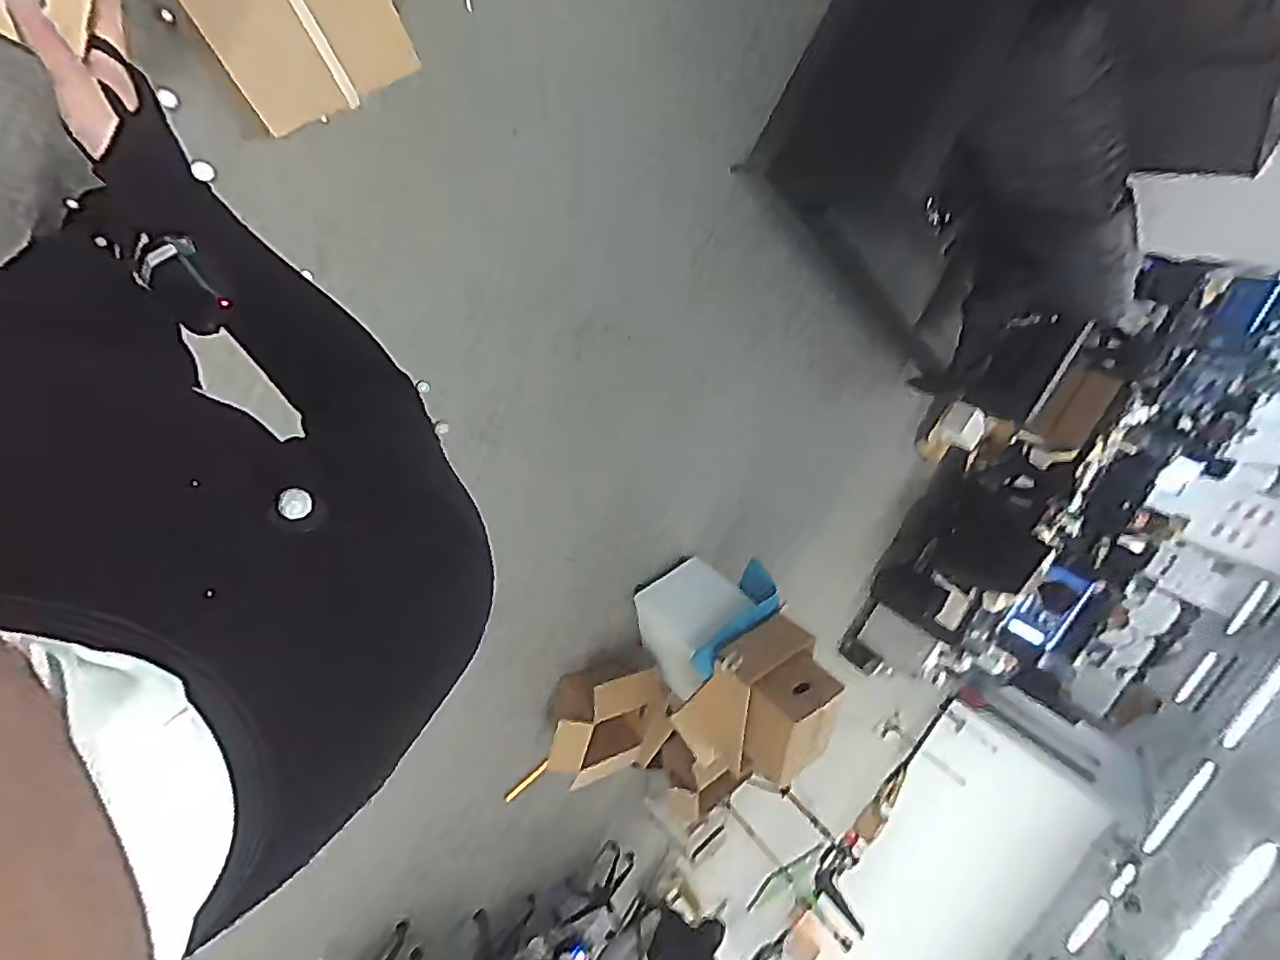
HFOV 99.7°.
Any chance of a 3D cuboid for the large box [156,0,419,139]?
[{"bbox_3d":[-0.676,-0.886,0.952,0.320,0.320,0.408,-40,135,-16],"label":"large box"}]
